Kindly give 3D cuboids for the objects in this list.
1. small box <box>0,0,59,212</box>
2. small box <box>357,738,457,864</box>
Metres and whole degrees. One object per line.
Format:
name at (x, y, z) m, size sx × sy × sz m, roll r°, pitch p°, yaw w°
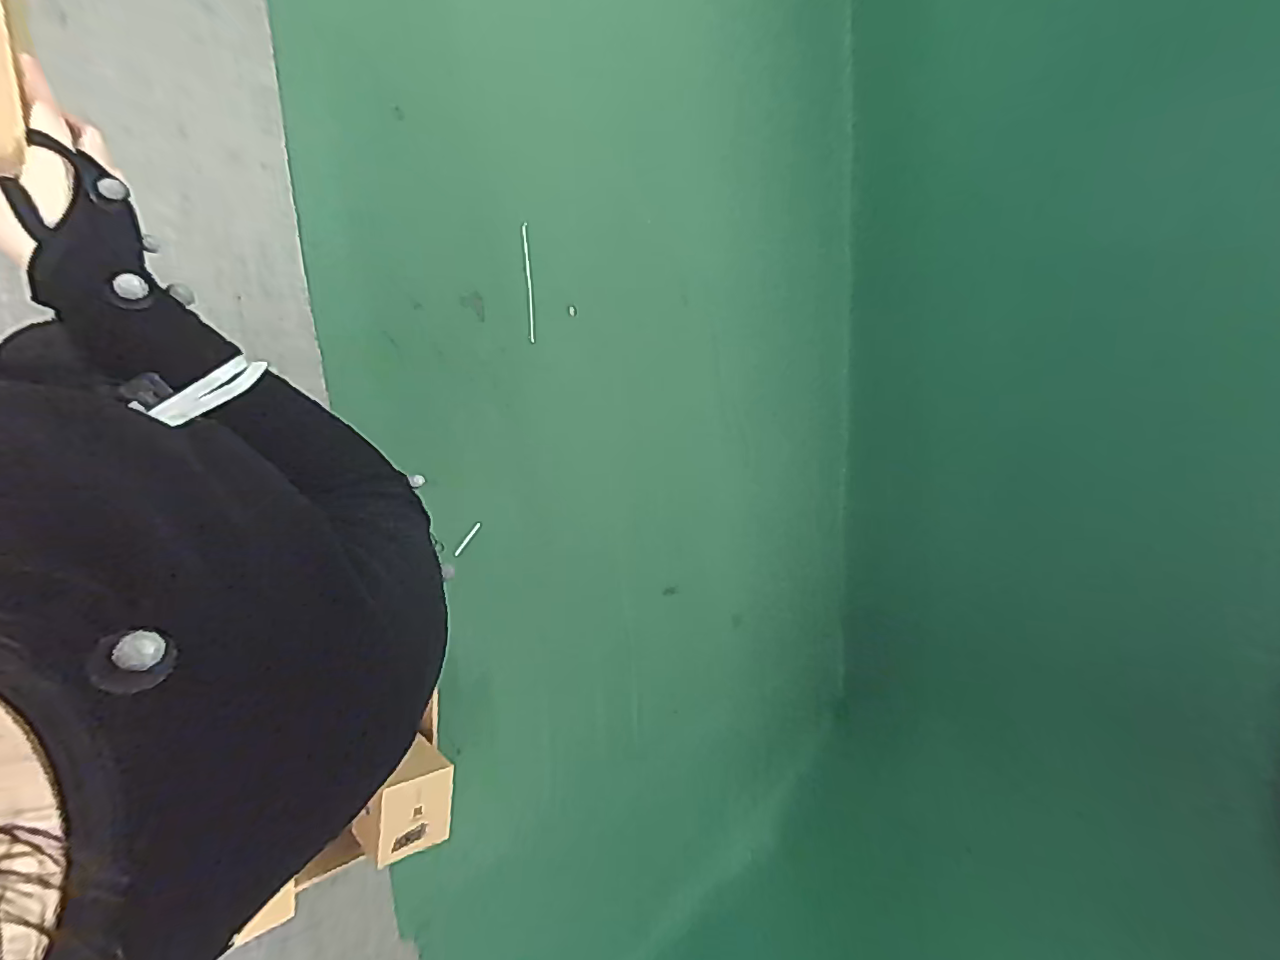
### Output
small box at (-0.474, -0.271, 0.312) m, size 0.168 × 0.176 × 0.179 m, roll -9°, pitch 111°, yaw -41°
small box at (-0.557, 0.752, 1.287) m, size 0.168 × 0.176 × 0.179 m, roll 4°, pitch 90°, yaw -45°
